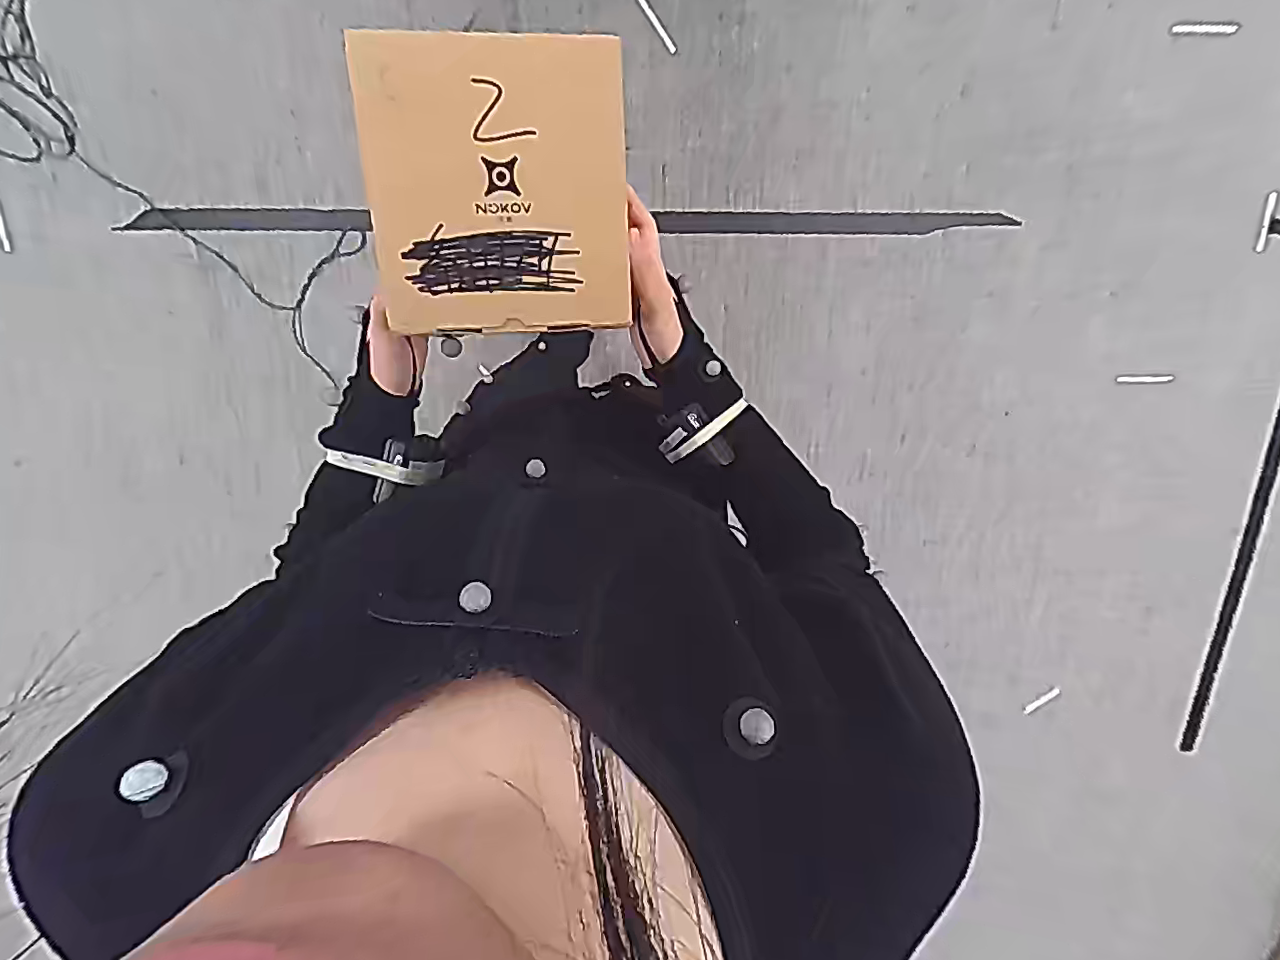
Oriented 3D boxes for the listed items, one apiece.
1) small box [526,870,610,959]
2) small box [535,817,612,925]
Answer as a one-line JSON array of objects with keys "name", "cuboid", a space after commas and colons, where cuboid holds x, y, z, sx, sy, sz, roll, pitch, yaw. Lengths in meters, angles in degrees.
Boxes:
[{"name": "small box", "cuboid": [-0.152, 1.012, 1.198, 0.168, 0.176, 0.179, -1, 103, -1]}, {"name": "small box", "cuboid": [-0.160, 0.981, 1.358, 0.179, 0.176, 0.168, -2, 103, 0]}]
